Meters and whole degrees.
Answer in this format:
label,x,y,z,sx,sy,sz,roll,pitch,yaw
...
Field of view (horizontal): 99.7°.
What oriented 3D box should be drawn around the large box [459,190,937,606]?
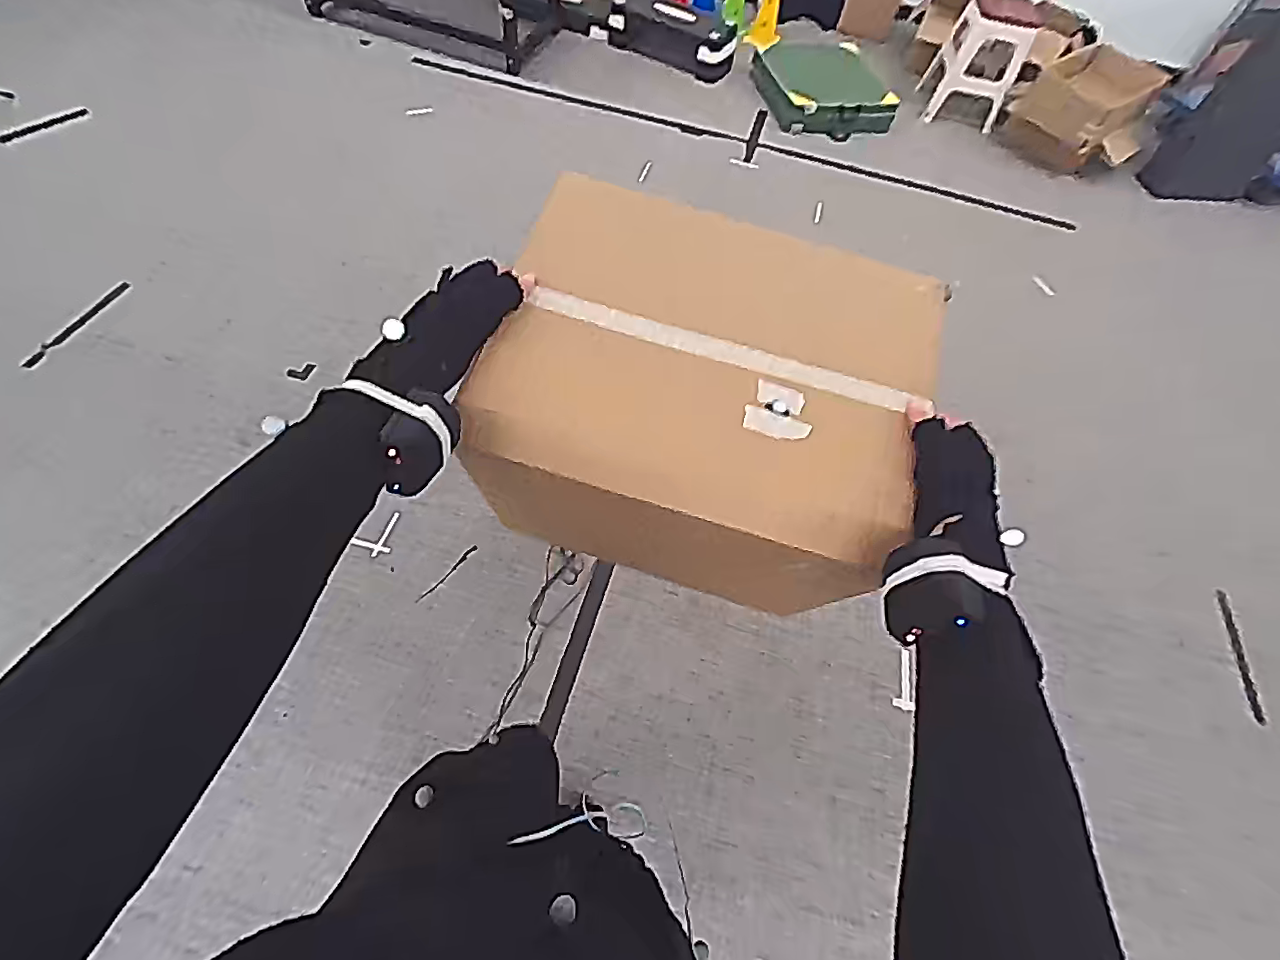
label,x,y,z,sx,sy,sz,roll,pitch,yaw
large box,0.061,-0.065,0.648,0.408,0.320,0.320,17,72,2
